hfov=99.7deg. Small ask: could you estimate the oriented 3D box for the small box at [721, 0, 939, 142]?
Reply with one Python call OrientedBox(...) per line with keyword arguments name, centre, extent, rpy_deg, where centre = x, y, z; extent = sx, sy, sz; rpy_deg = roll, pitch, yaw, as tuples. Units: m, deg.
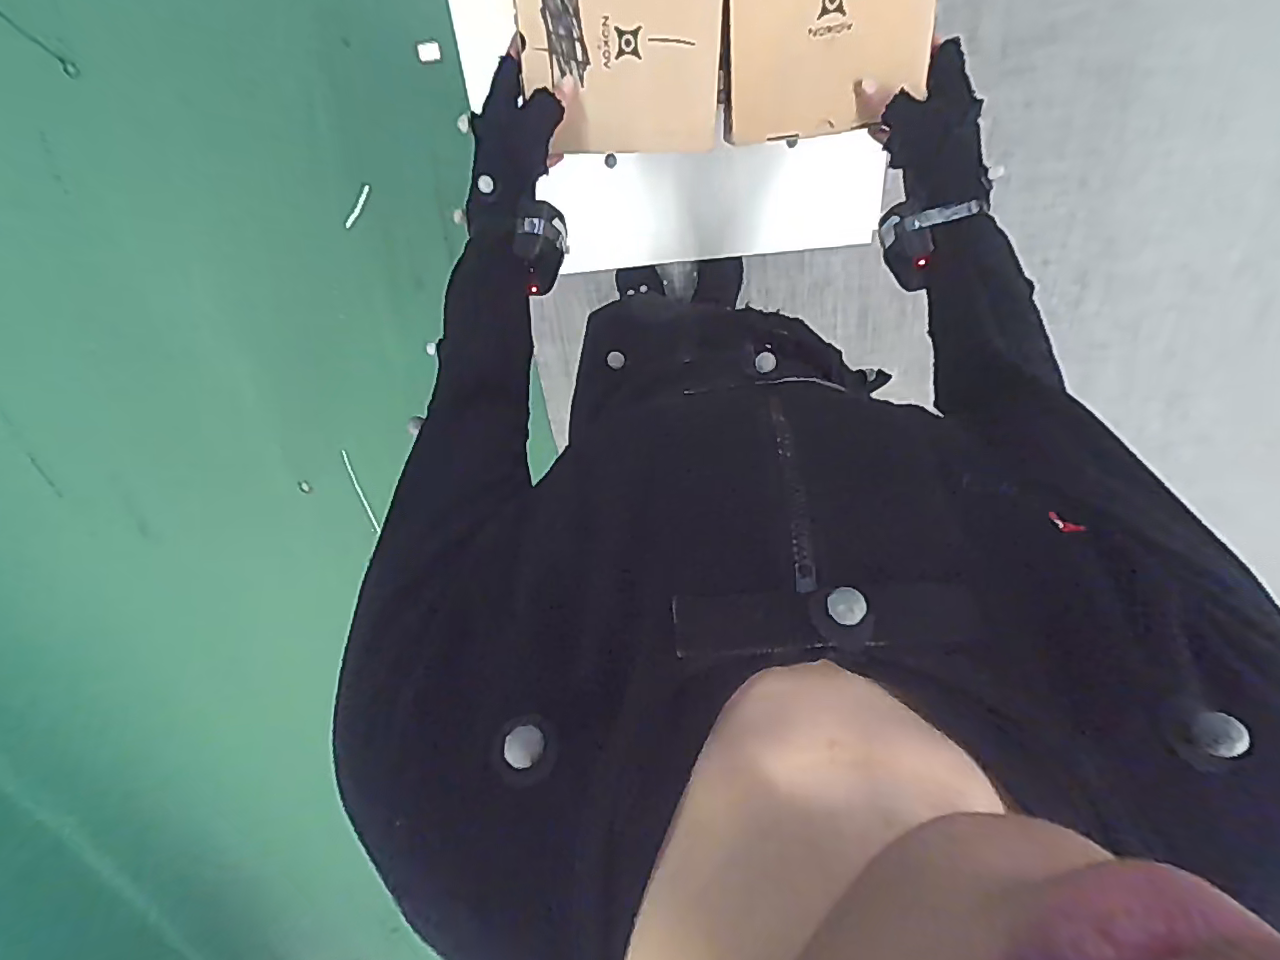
OrientedBox(name="small box", centre=(0.163, -0.428, 0.504), extent=(0.168, 0.176, 0.179), rpy_deg=(-3, 124, 9))
